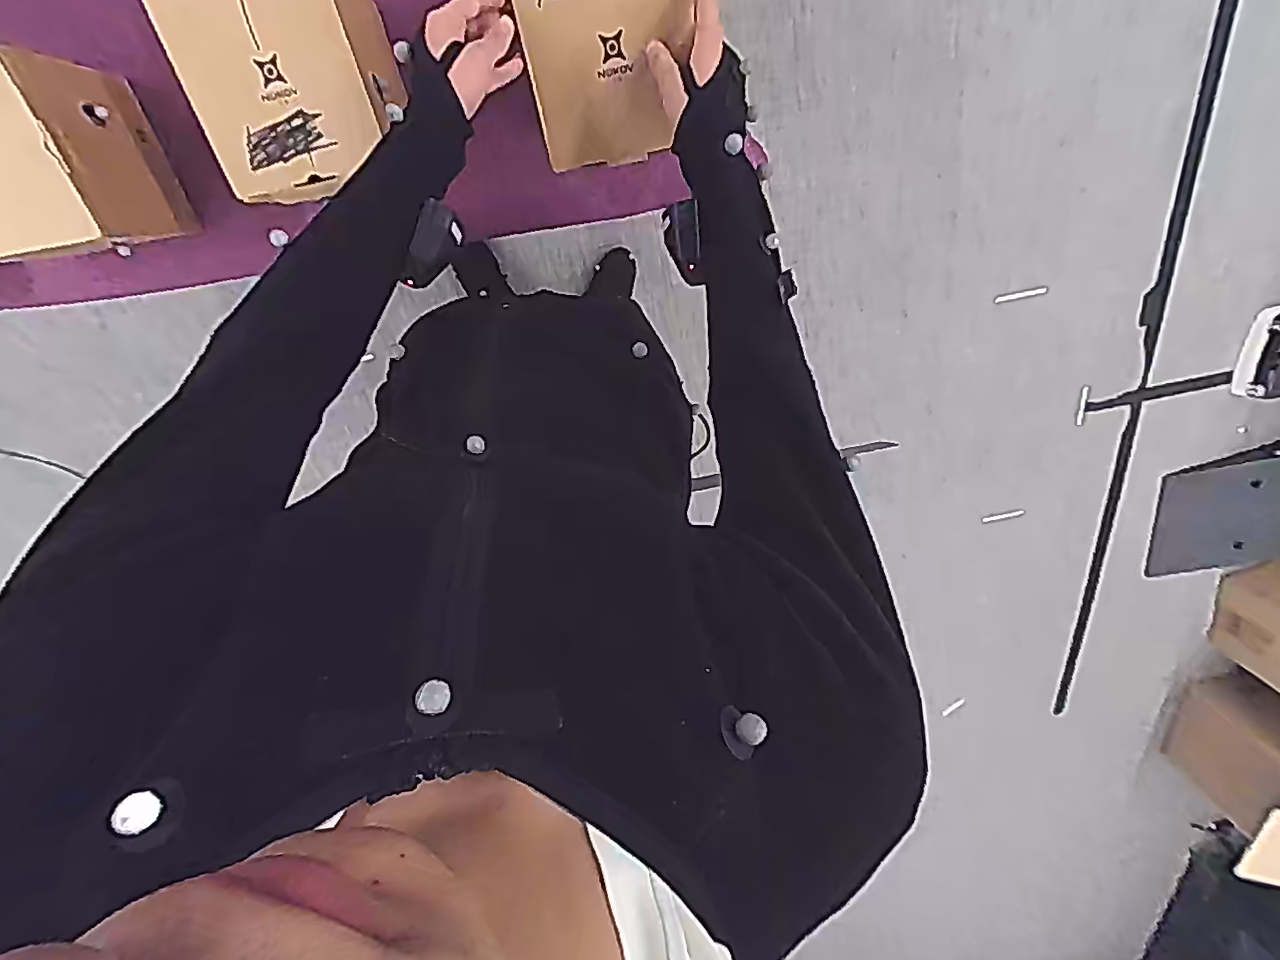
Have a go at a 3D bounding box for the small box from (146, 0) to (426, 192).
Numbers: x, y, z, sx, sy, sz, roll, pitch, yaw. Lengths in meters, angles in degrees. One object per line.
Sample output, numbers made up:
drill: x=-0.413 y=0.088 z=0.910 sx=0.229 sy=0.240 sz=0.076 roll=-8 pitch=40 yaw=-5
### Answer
small box: x=-0.355 y=-0.423 z=0.583 sx=0.168 sy=0.176 sz=0.179 roll=-13 pitch=117 yaw=0

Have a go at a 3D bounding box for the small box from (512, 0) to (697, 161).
small box: x=-0.038 y=-0.467 z=0.571 sx=0.168 sy=0.176 sz=0.179 roll=-11 pitch=134 yaw=0

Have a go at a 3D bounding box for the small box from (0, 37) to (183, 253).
small box: x=-0.656 y=-0.350 z=0.587 sx=0.179 sy=0.176 sz=0.168 roll=-11 pitch=117 yaw=-1
